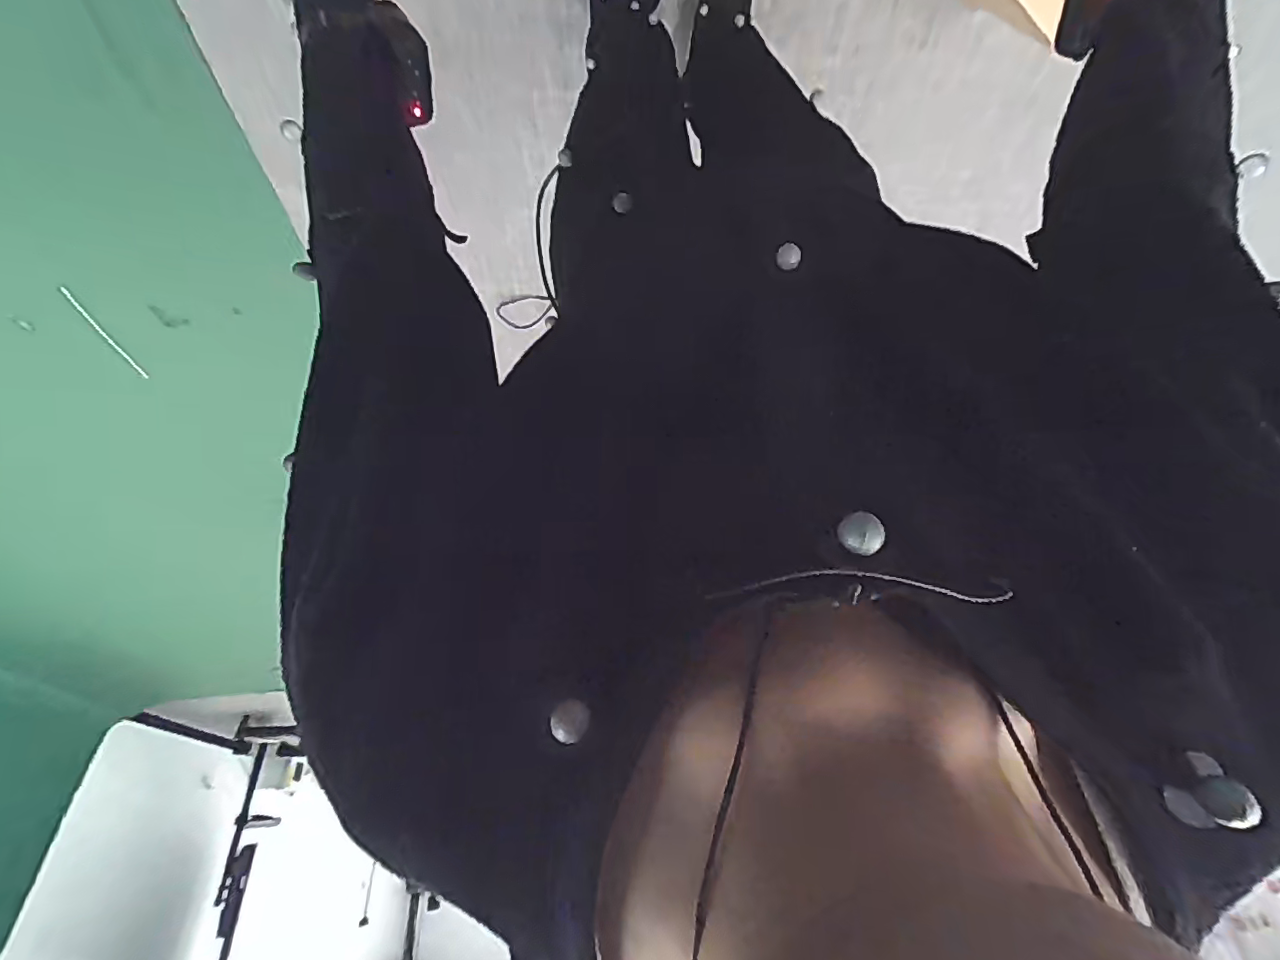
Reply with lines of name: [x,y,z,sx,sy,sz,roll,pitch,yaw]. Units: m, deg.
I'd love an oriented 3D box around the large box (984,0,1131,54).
large box: [0.599,-0.938,0.776,0.408,0.320,0.320,15,140,-28]
